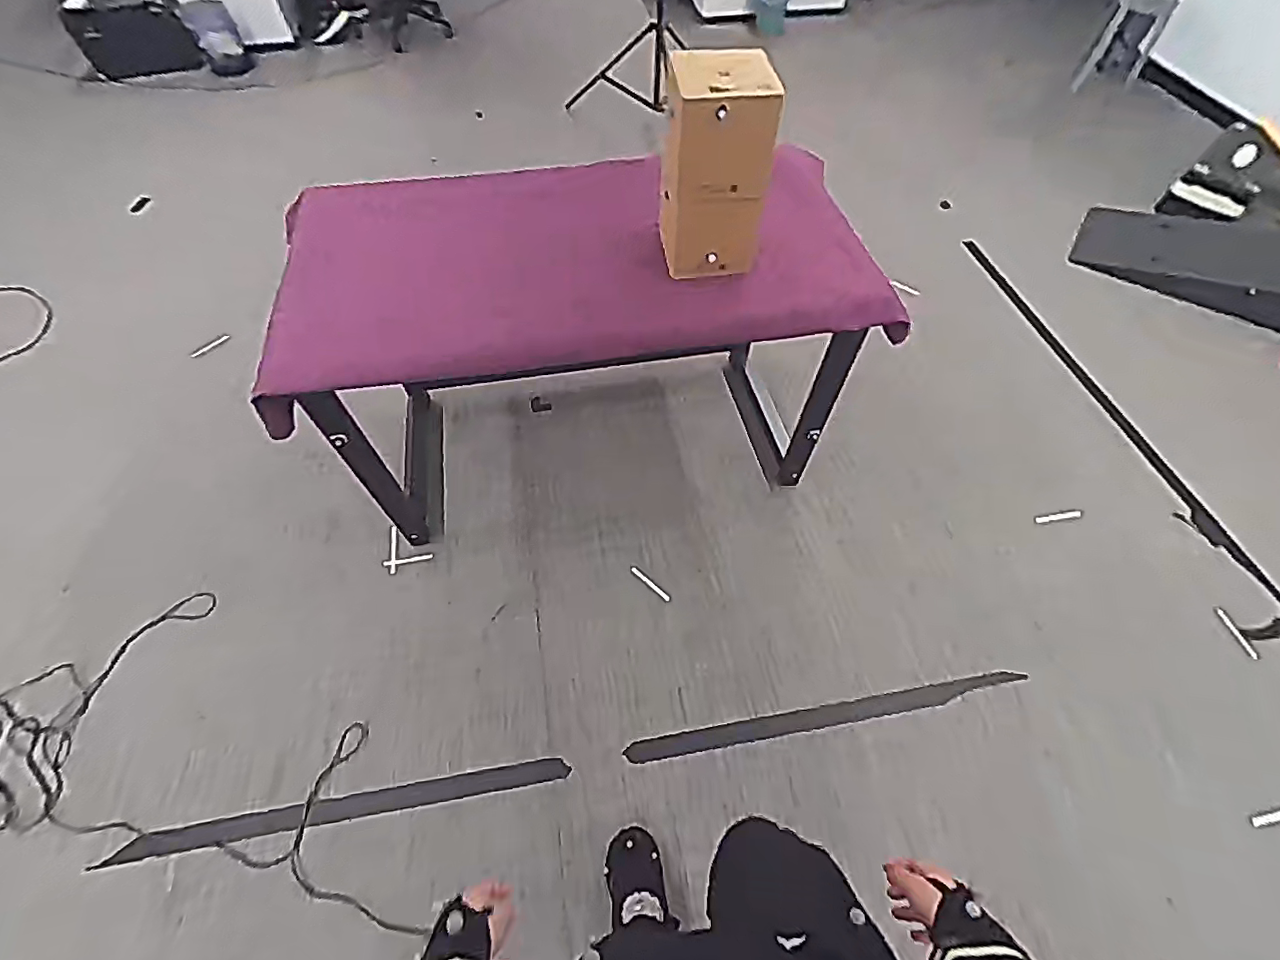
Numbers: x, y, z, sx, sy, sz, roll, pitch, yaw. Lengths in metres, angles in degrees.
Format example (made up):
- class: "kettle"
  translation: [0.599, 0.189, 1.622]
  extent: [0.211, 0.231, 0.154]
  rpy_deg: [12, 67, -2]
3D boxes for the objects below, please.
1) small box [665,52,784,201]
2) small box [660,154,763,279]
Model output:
- class: "small box"
  translation: [0.135, -0.616, 0.949]
  extent: [0.168, 0.176, 0.179]
  rpy_deg: [-5, 57, -3]
- class: "small box"
  translation: [0.133, -0.532, 1.090]
  extent: [0.168, 0.176, 0.179]
  rpy_deg: [-7, 58, -4]
